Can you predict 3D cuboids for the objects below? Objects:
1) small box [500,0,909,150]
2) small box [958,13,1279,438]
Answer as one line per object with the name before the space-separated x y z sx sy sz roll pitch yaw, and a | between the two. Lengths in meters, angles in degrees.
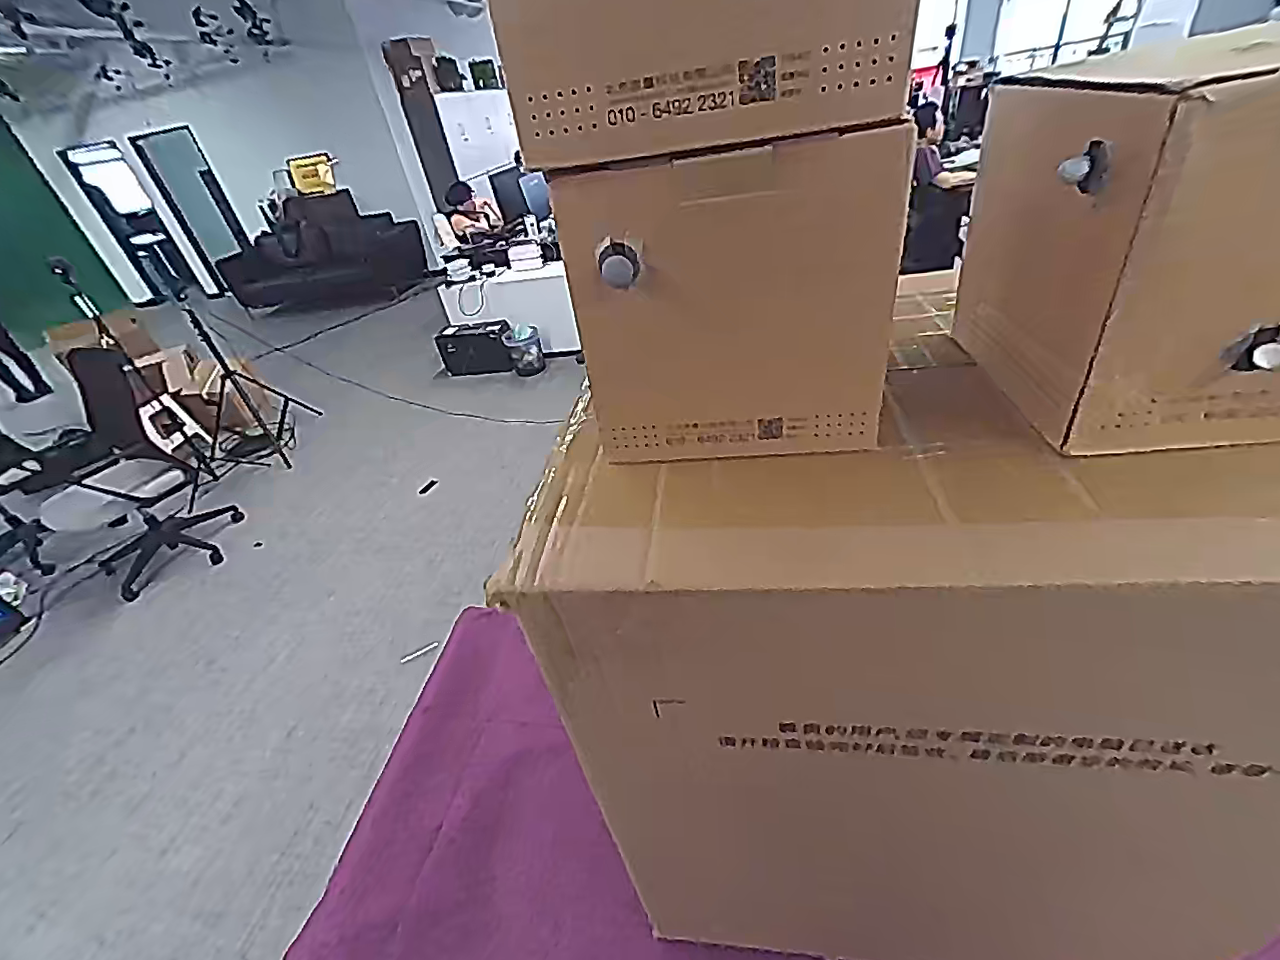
small box | 0.025 -0.265 0.253 0.168 0.176 0.179 -3 36 7
small box | 0.301 -0.141 0.297 0.168 0.176 0.179 -5 36 10
